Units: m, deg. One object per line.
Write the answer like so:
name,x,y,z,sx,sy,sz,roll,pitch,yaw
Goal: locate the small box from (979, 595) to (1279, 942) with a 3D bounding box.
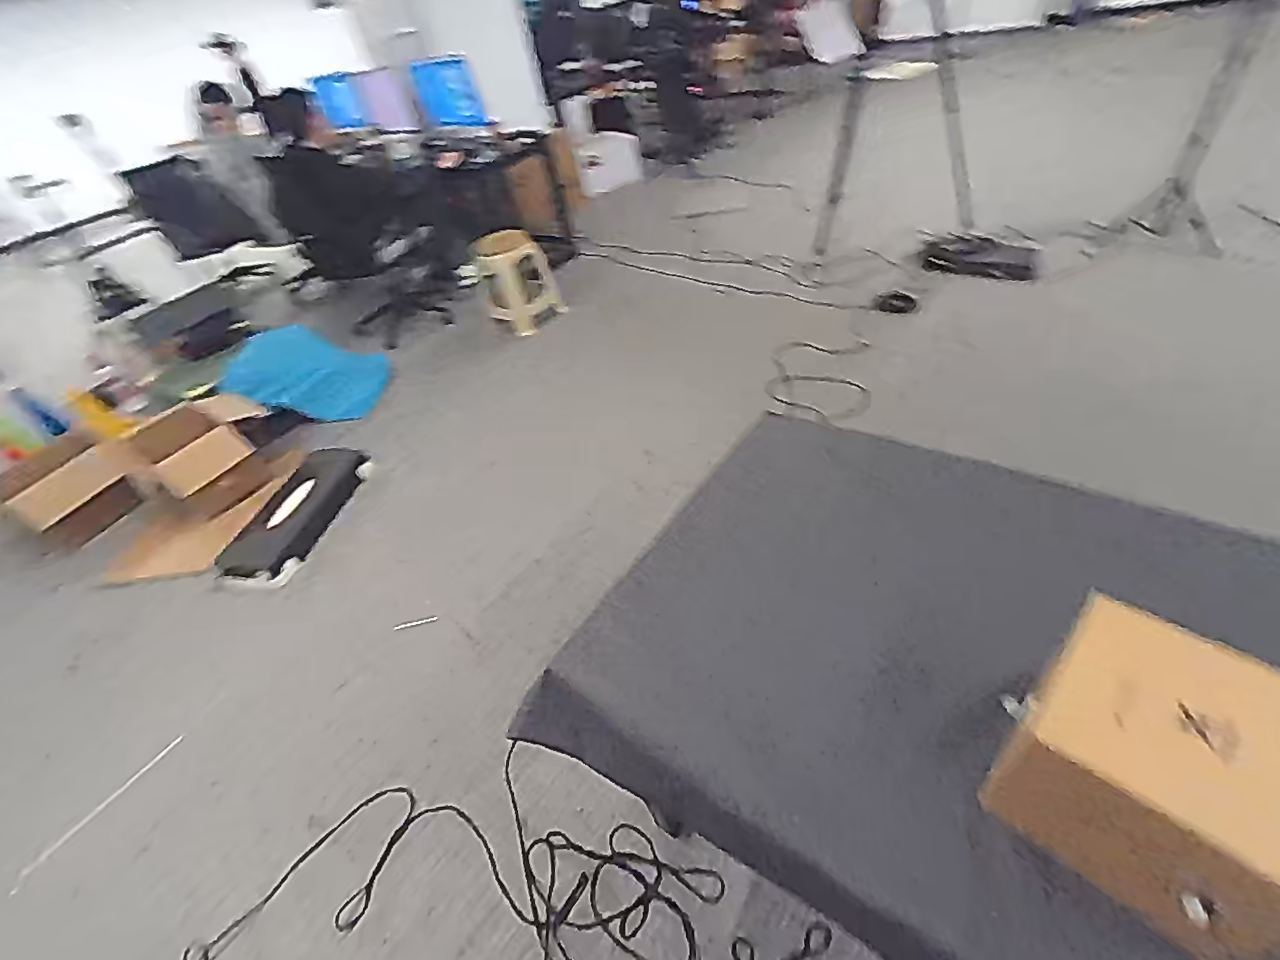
small box,0.426,0.239,0.455,0.179,0.176,0.168,28,55,37
